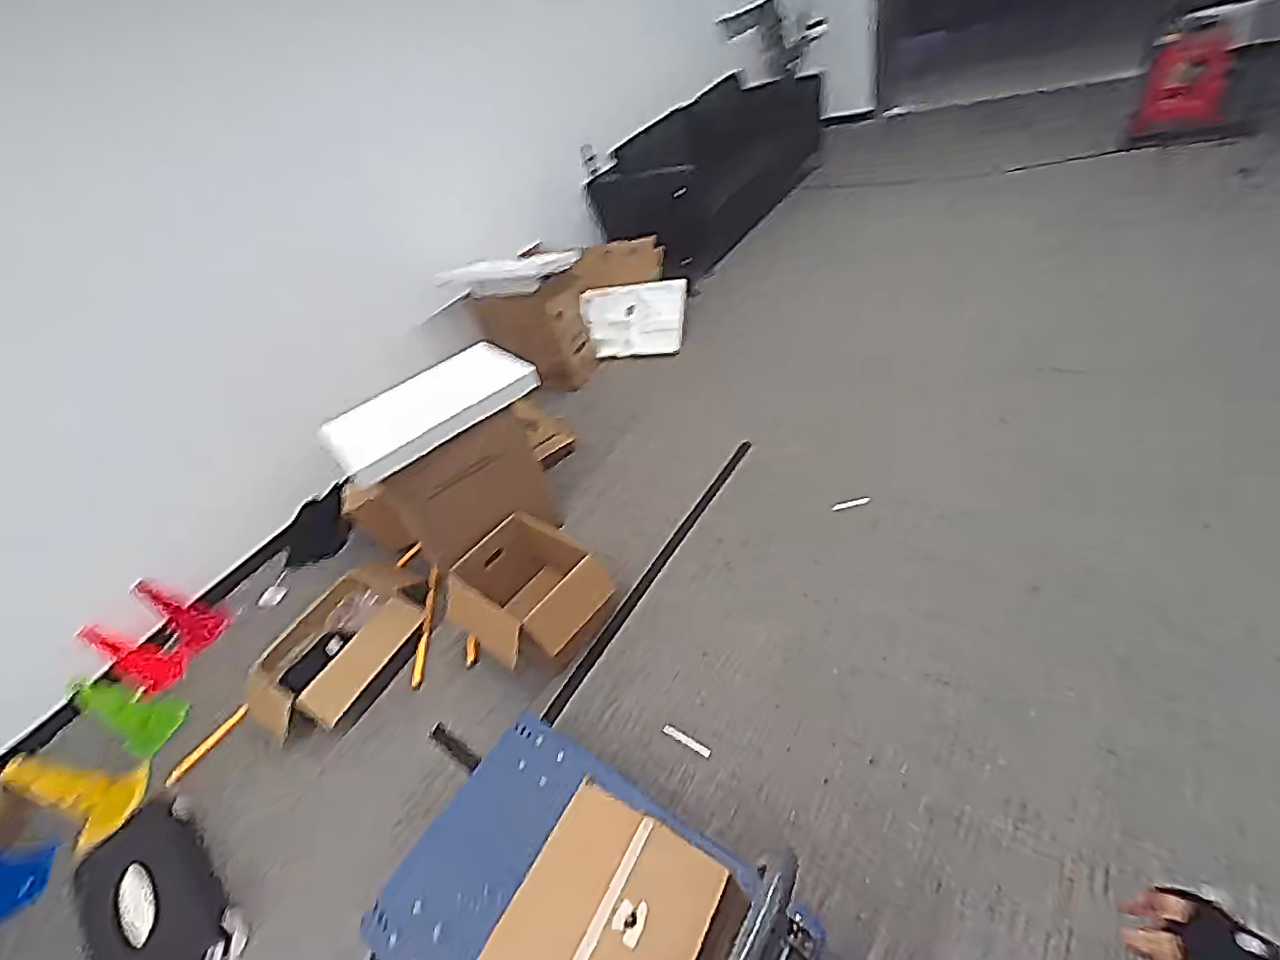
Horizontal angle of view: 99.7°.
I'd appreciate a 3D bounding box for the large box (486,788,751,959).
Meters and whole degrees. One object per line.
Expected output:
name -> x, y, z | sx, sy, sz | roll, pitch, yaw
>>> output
large box -> -0.039, 0.853, 0.934 | 0.320, 0.320, 0.408 | 12, 48, 32
